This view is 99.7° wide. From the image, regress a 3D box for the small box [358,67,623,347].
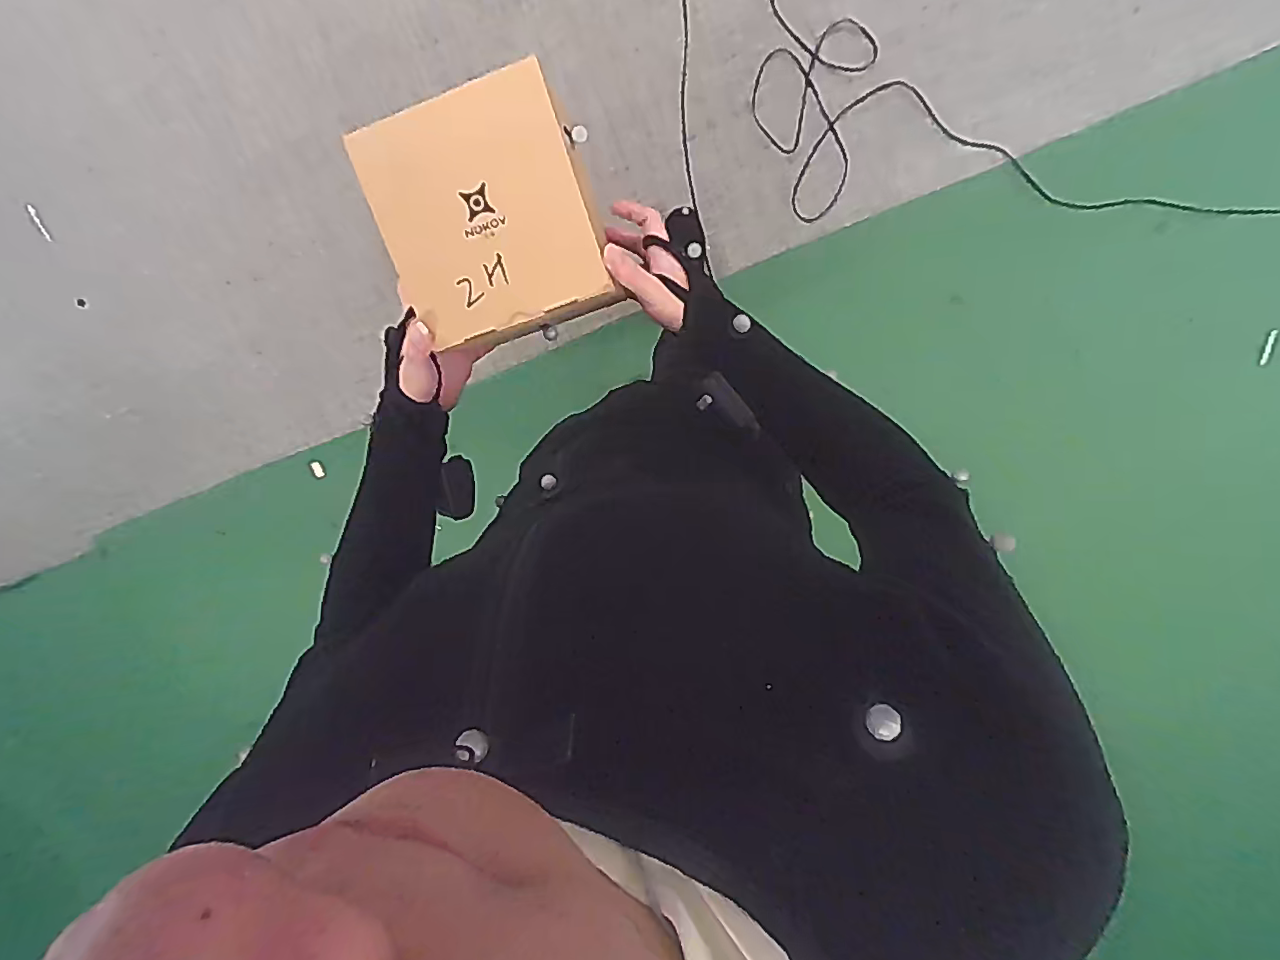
[{"bbox_3d":[-0.121,-0.236,0.518,0.168,0.176,0.179,-16,104,7],"label":"small box"}]
